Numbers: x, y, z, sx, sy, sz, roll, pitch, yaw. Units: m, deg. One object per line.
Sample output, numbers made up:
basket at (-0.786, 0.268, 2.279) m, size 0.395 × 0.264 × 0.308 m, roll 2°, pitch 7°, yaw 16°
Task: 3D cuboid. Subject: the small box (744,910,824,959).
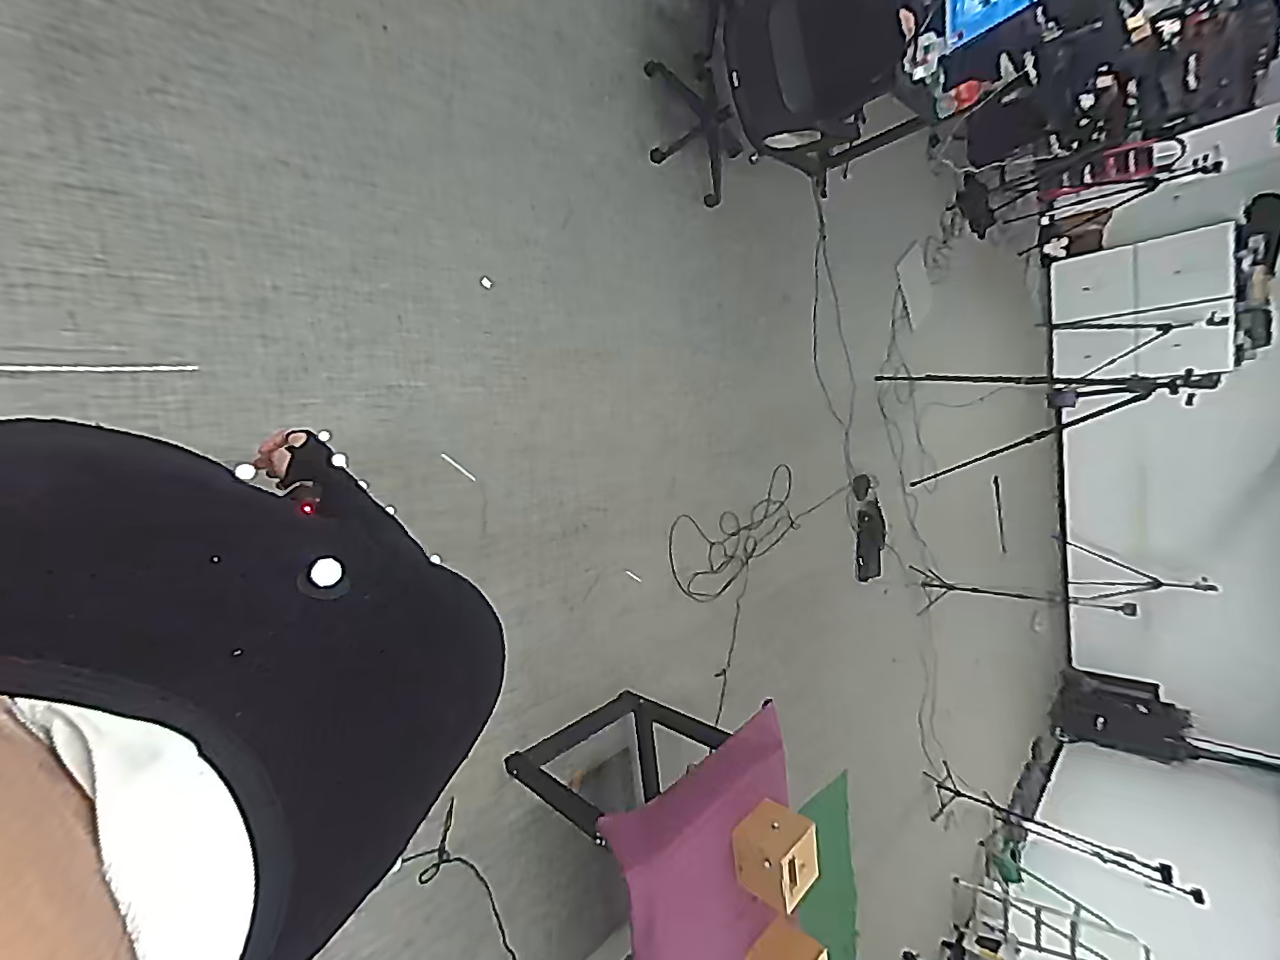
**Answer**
small box at (0.429, 1.439, 1.599) m, size 0.179 × 0.176 × 0.168 m, roll -11°, pitch 98°, yaw -42°
